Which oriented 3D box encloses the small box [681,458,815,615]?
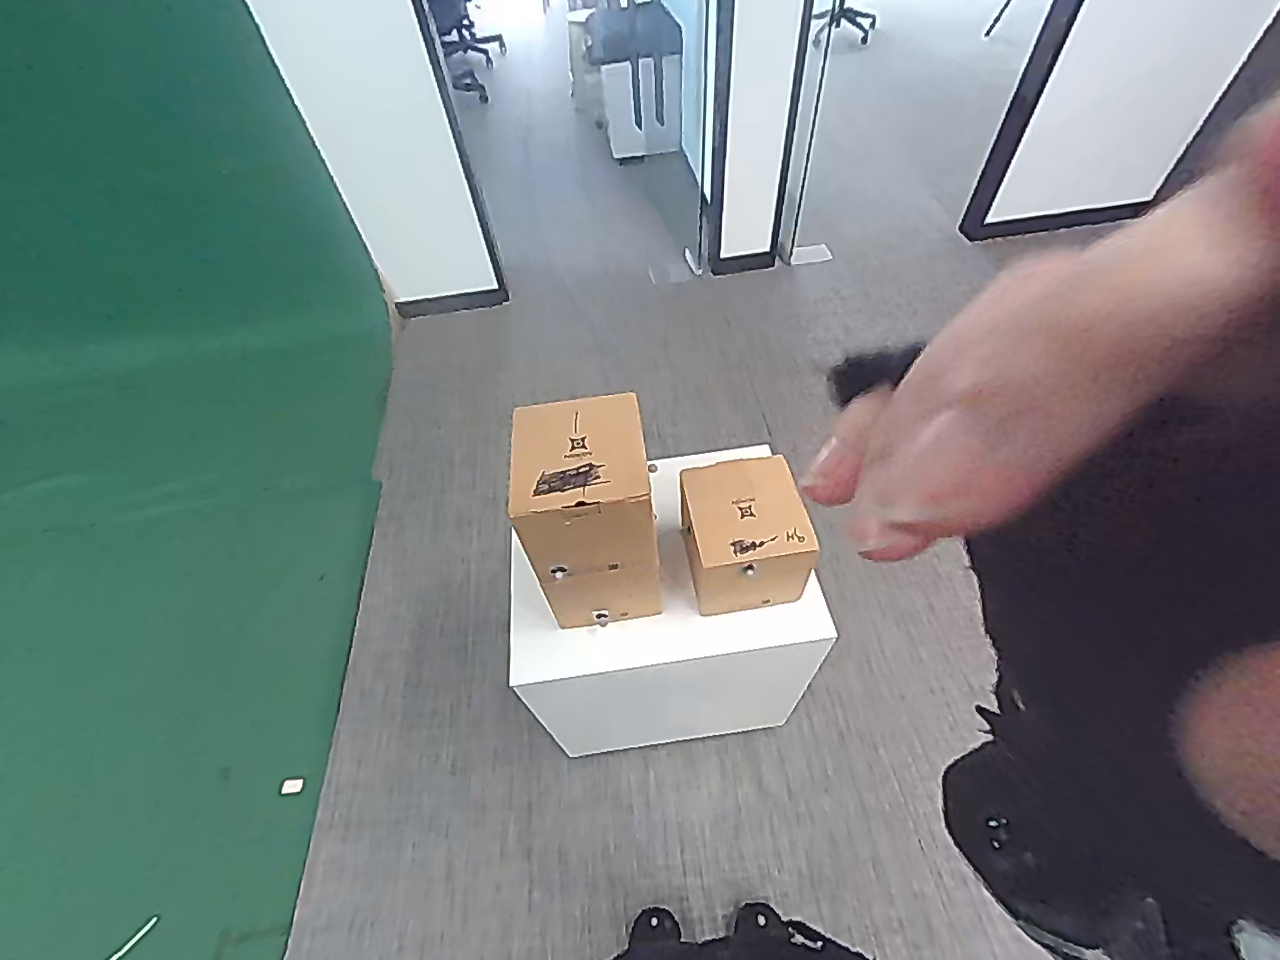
[{"bbox_3d":[0.157,0.092,0.859,0.168,0.176,0.179,-8,51,-2],"label":"small box"}]

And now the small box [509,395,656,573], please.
[{"bbox_3d":[-0.071,0.013,0.733,0.168,0.176,0.179,-7,51,0],"label":"small box"}]

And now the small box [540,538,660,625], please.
[{"bbox_3d":[-0.063,0.105,0.849,0.168,0.176,0.179,-9,53,-2],"label":"small box"}]
